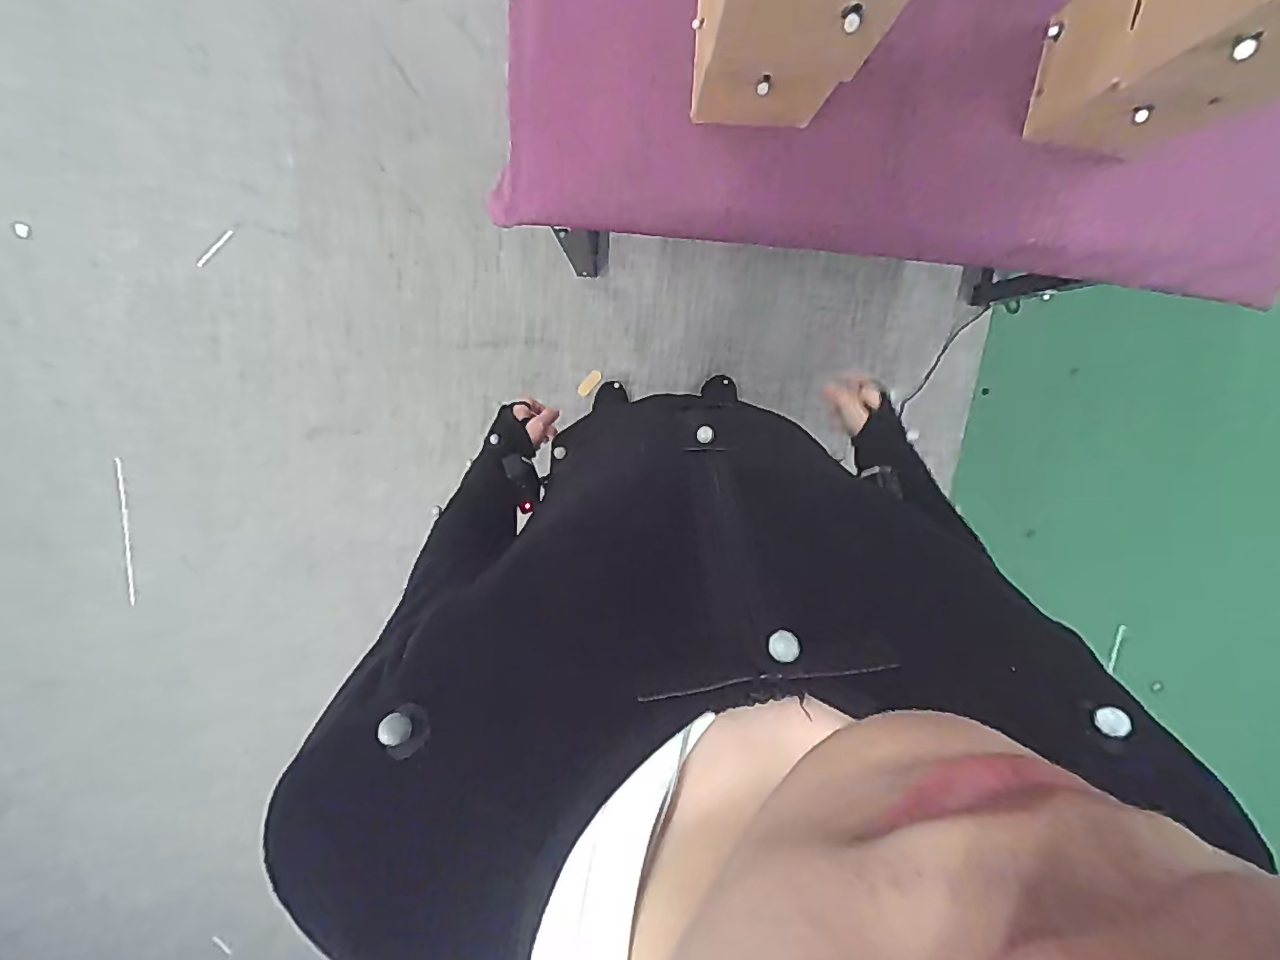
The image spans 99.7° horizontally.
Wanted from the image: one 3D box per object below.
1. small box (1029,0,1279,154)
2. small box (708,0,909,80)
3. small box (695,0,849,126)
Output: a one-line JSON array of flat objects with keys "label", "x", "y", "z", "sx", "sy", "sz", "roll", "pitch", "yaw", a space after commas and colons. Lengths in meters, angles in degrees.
[{"label": "small box", "x": 0.670, "y": -0.561, "z": 0.717, "sx": 0.179, "sy": 0.176, "sz": 0.168, "roll": 7, "pitch": 101, "yaw": -2}, {"label": "small box", "x": 0.174, "y": -0.548, "z": 0.556, "sx": 0.179, "sy": 0.176, "sz": 0.168, "roll": 5, "pitch": 101, "yaw": 0}, {"label": "small box", "x": 0.173, "y": -0.595, "z": 0.715, "sx": 0.179, "sy": 0.176, "sz": 0.168, "roll": 3, "pitch": 101, "yaw": 0}]
